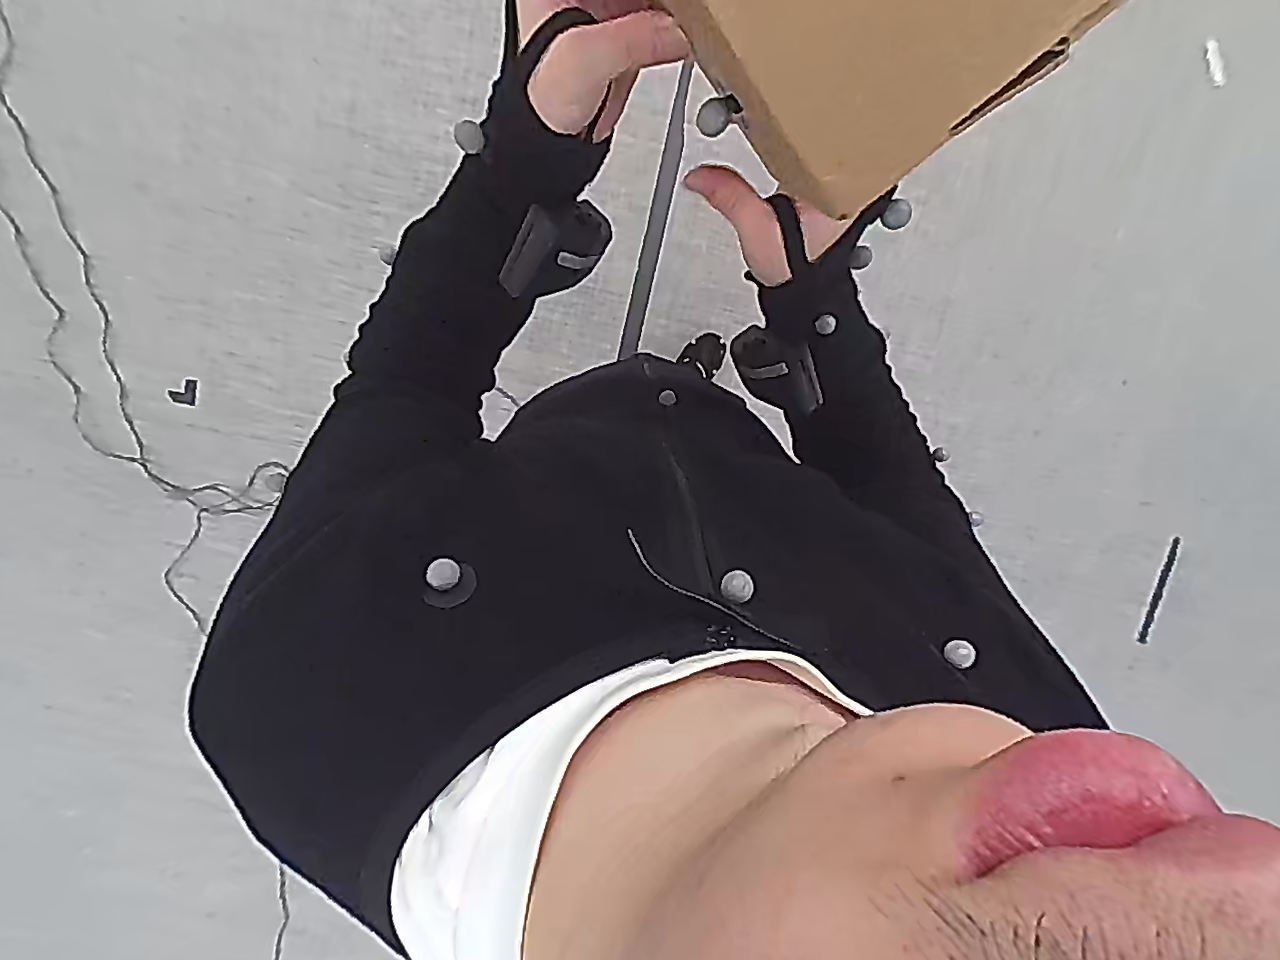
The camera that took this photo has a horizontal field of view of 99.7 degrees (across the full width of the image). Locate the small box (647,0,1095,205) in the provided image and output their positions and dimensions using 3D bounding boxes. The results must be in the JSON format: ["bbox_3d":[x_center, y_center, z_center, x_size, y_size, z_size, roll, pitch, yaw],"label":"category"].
[{"bbox_3d":[0.069,-0.224,0.167,0.168,0.176,0.179,-36,113,24],"label":"small box"}]
